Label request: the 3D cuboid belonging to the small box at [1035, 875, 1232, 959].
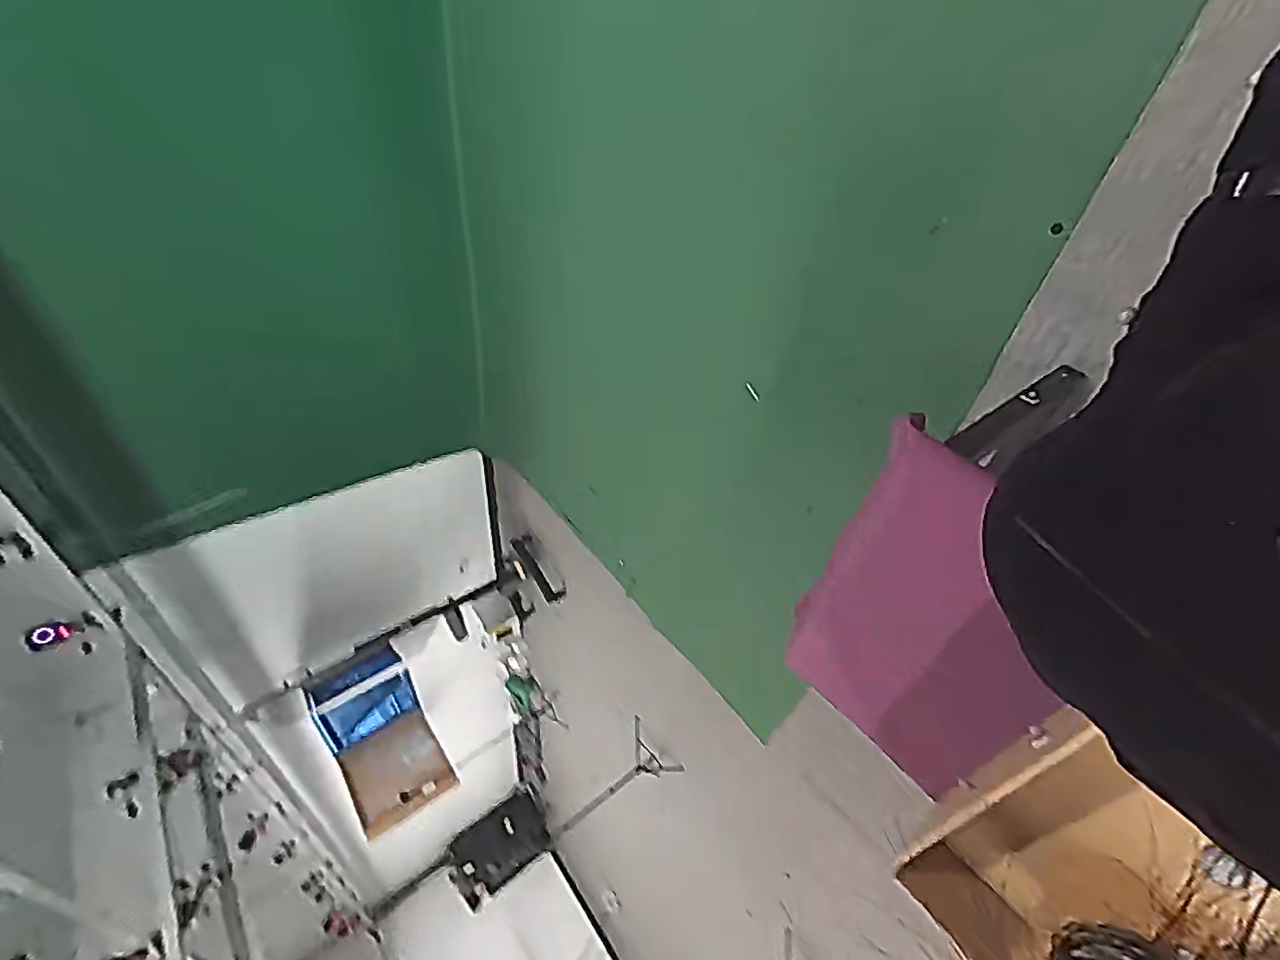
[{"bbox_3d":[0.665,0.676,0.720,0.168,0.176,0.179,43,139,33],"label":"small box"}]
